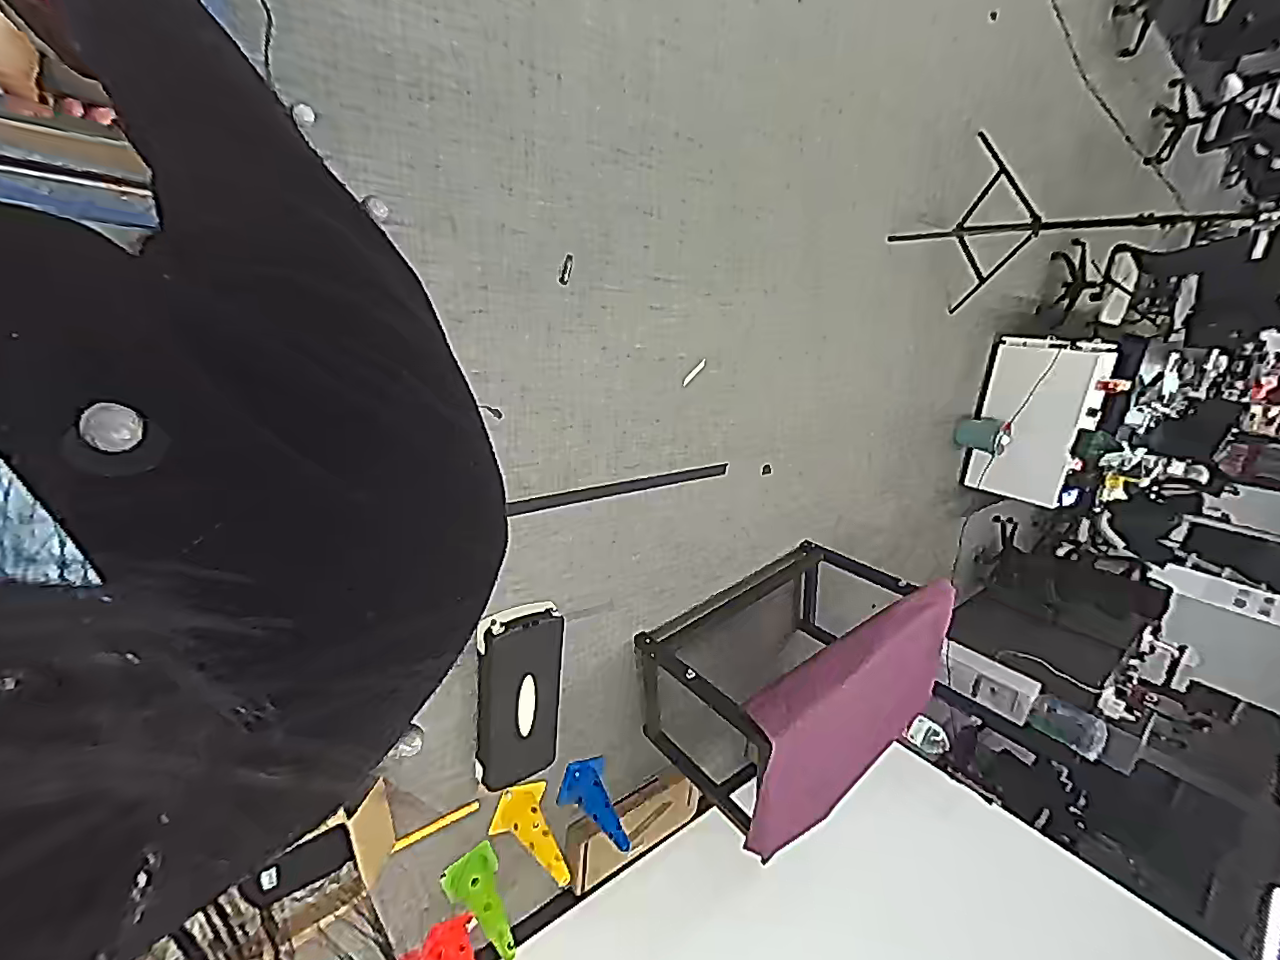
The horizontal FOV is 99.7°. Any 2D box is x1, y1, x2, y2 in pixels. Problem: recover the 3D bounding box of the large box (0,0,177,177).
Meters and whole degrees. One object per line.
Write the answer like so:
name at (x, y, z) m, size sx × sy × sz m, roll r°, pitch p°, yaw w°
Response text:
large box at (-0.837, -0.601, 0.647) m, size 0.408 × 0.320 × 0.320 m, roll -7°, pitch 110°, yaw -39°
